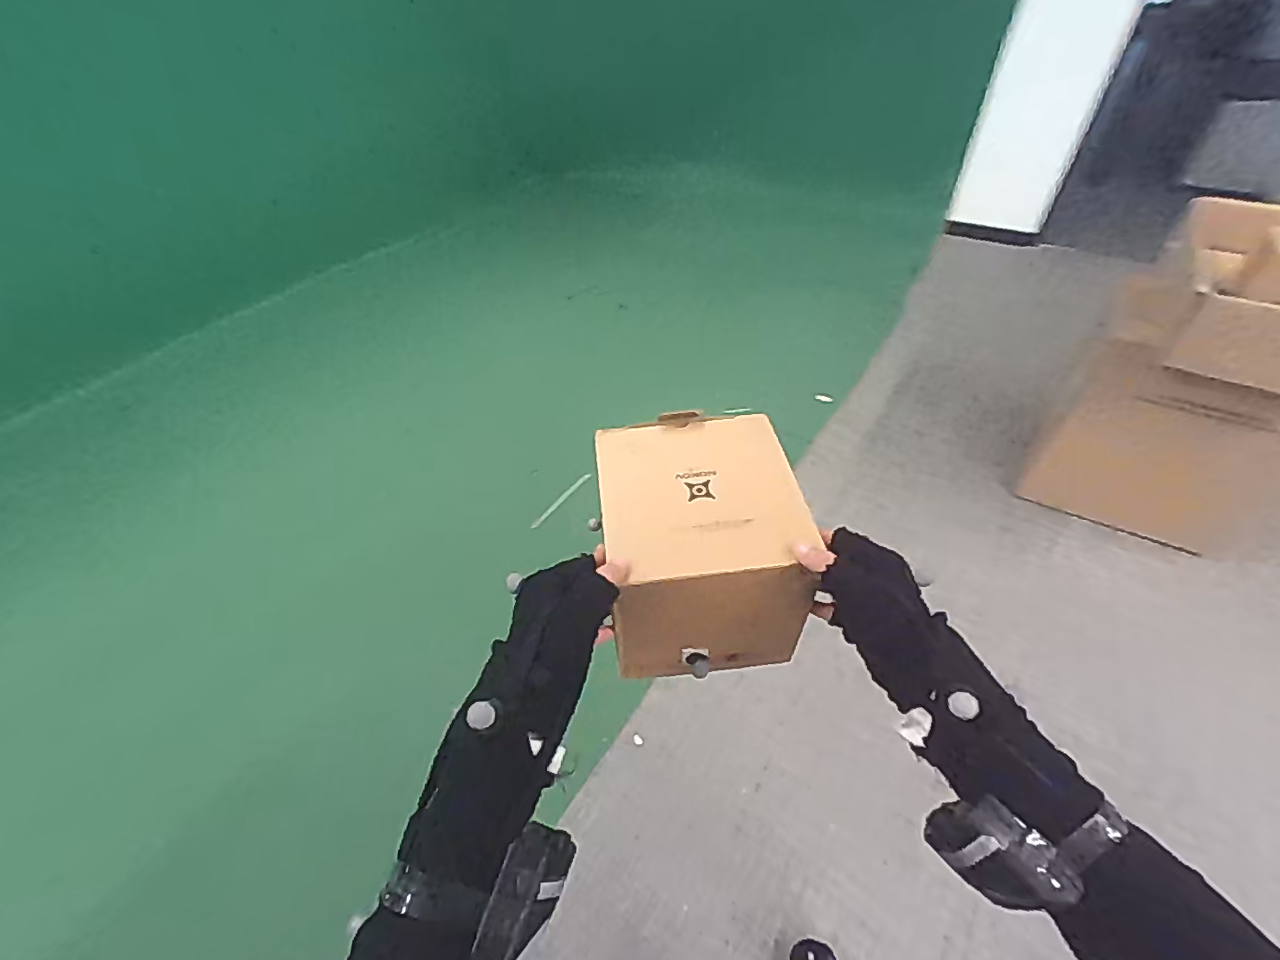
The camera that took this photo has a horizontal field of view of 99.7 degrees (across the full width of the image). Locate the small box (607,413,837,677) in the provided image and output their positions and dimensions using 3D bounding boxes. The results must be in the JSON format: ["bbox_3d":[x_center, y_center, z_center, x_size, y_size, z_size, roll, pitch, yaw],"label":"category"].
[{"bbox_3d":[0.060,0.061,0.513,0.168,0.176,0.179,-7,47,-3],"label":"small box"}]
